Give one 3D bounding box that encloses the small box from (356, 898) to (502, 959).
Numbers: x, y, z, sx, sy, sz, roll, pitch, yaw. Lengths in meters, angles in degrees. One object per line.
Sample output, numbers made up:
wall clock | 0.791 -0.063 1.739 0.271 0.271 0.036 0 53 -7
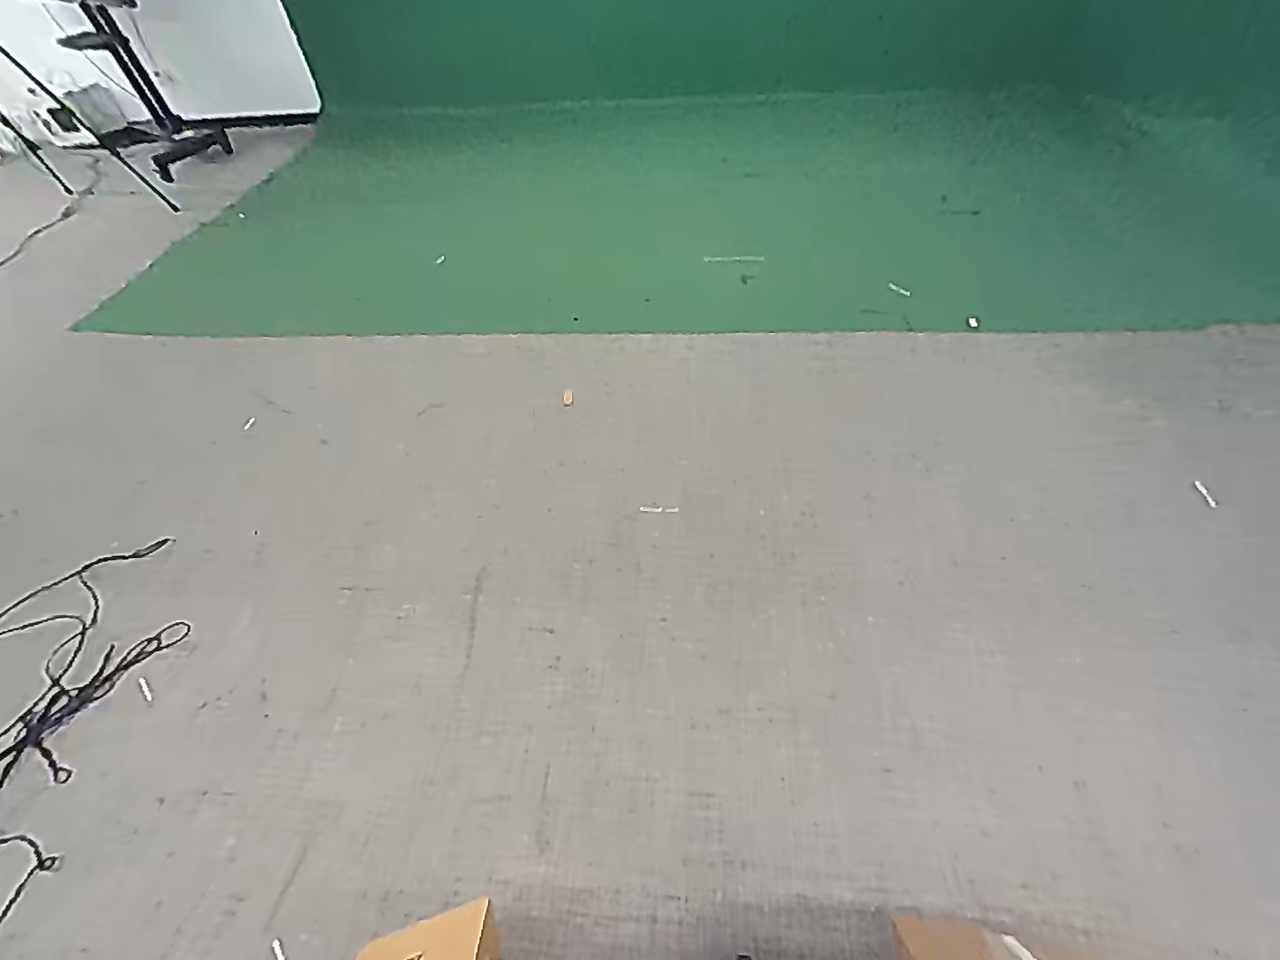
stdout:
small box | -0.249 0.651 0.629 0.168 0.179 0.176 -15 84 -11
